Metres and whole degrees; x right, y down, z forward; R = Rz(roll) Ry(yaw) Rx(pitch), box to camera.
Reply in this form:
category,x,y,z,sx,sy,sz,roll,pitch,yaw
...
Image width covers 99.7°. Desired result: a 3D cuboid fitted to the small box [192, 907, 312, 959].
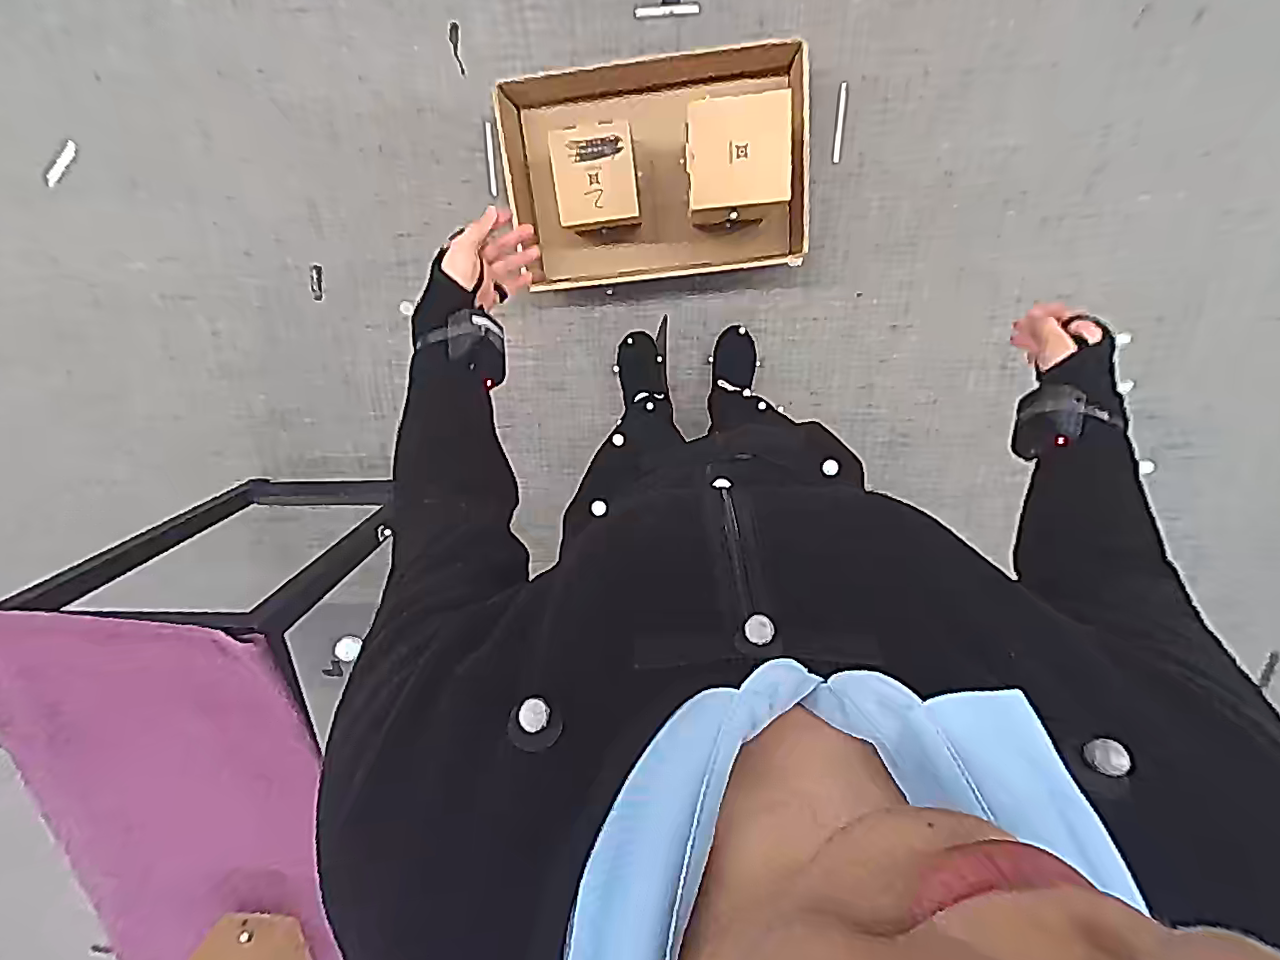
category,x,y,z,sx,sy,sz,roll,pitch,yaw
small box,-0.820,1.040,1.126,0.168,0.176,0.179,0,110,4

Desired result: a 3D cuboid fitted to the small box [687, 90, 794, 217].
category,x,y,z,sx,sy,sz,roll,pitch,yaw
small box,0.177,-0.584,0.989,0.179,0.176,0.168,-3,111,6

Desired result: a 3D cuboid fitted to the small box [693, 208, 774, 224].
category,x,y,z,sx,sy,sz,roll,pitch,yaw
small box,0.191,-0.644,1.139,0.168,0.176,0.179,-3,110,5
